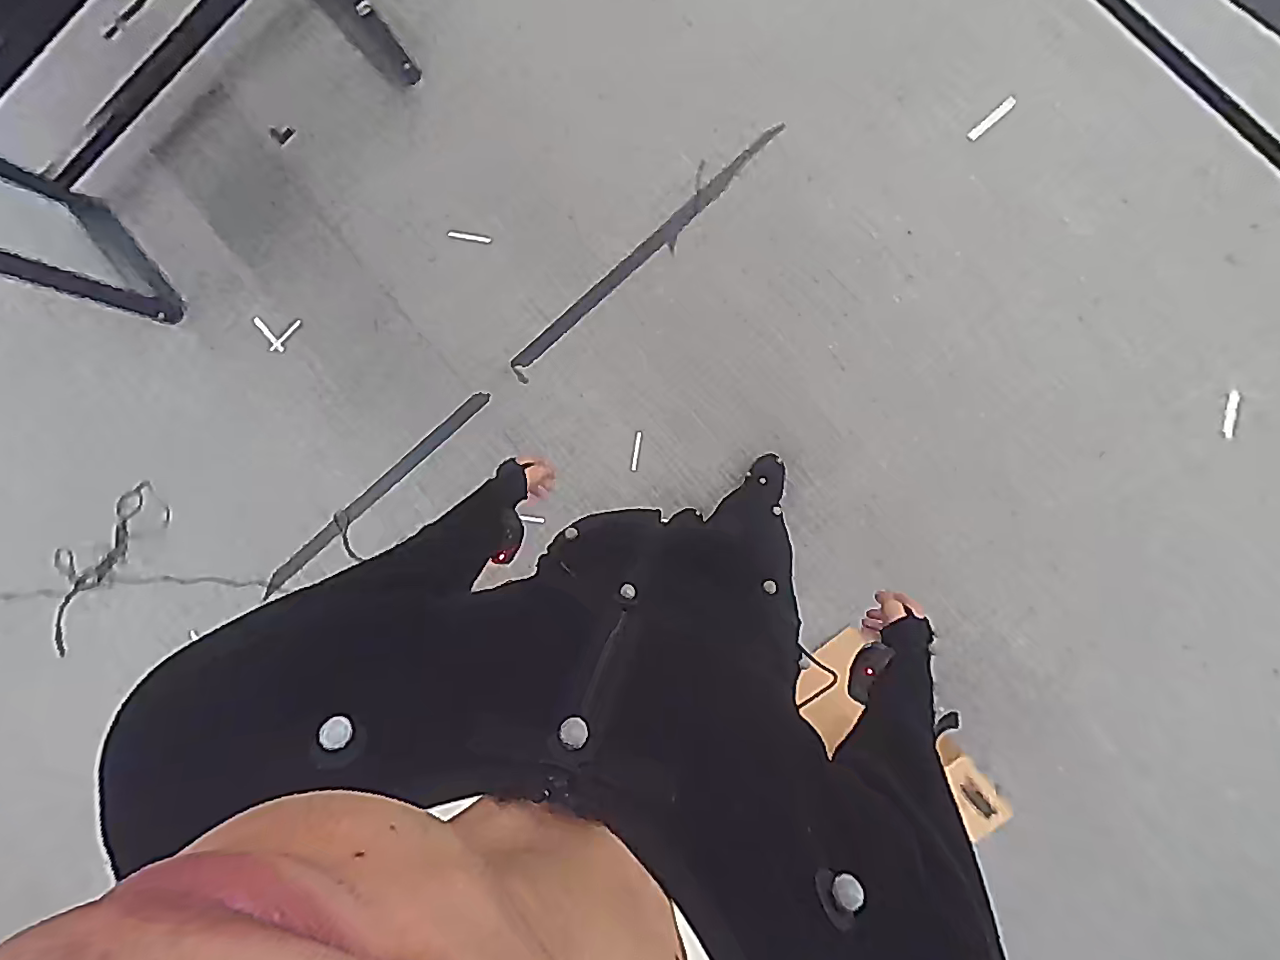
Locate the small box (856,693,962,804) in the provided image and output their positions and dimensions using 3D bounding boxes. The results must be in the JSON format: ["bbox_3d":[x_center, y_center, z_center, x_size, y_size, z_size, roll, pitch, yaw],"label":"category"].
[{"bbox_3d":[0.708,0.713,1.455,0.179,0.176,0.168,-39,86,5],"label":"small box"}]
